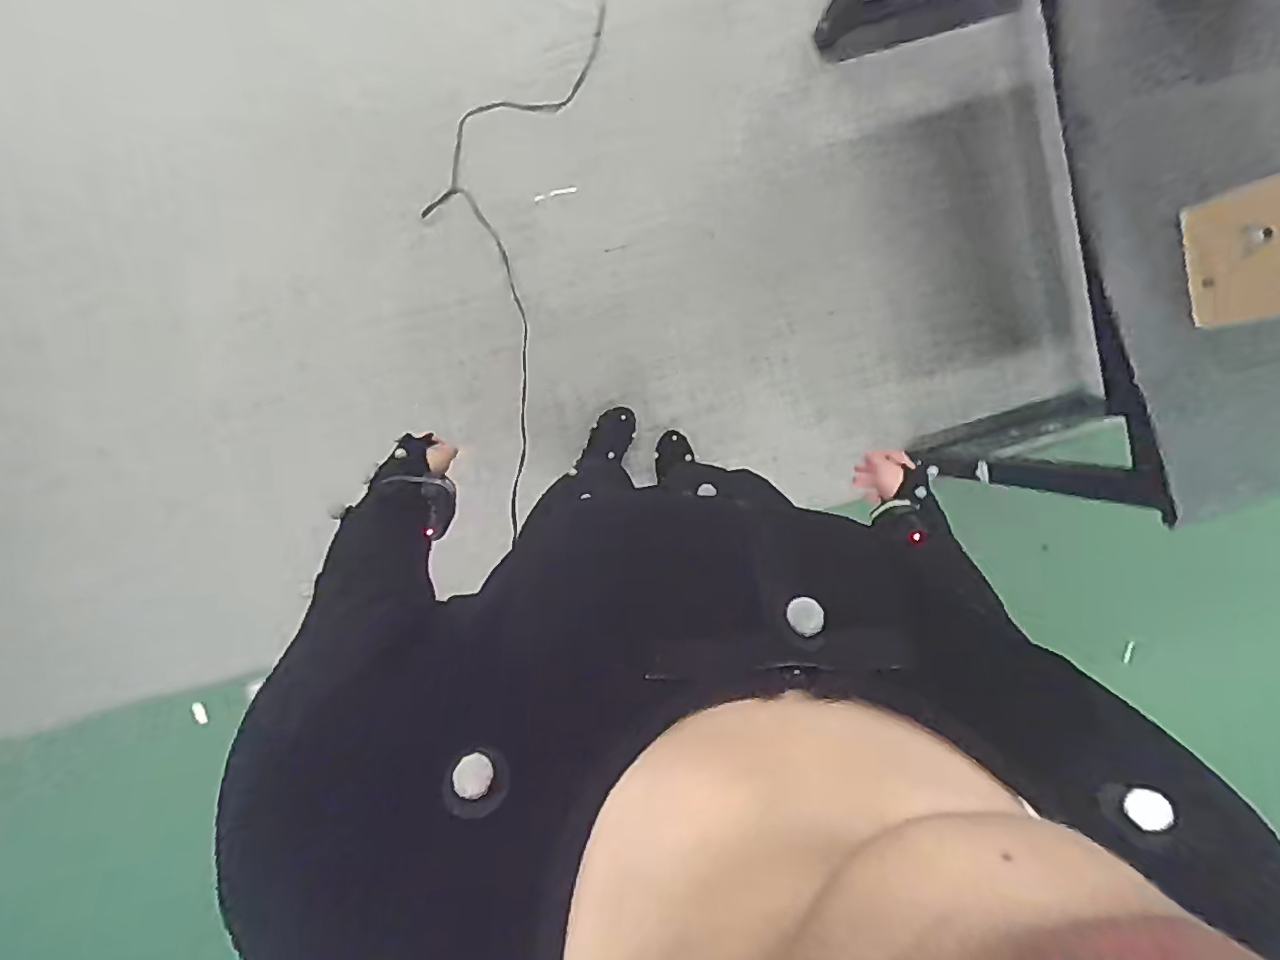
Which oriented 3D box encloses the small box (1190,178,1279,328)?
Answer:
[{"bbox_3d":[0.849,-0.301,0.676,0.179,0.176,0.168,-16,97,-3],"label":"small box"}]
